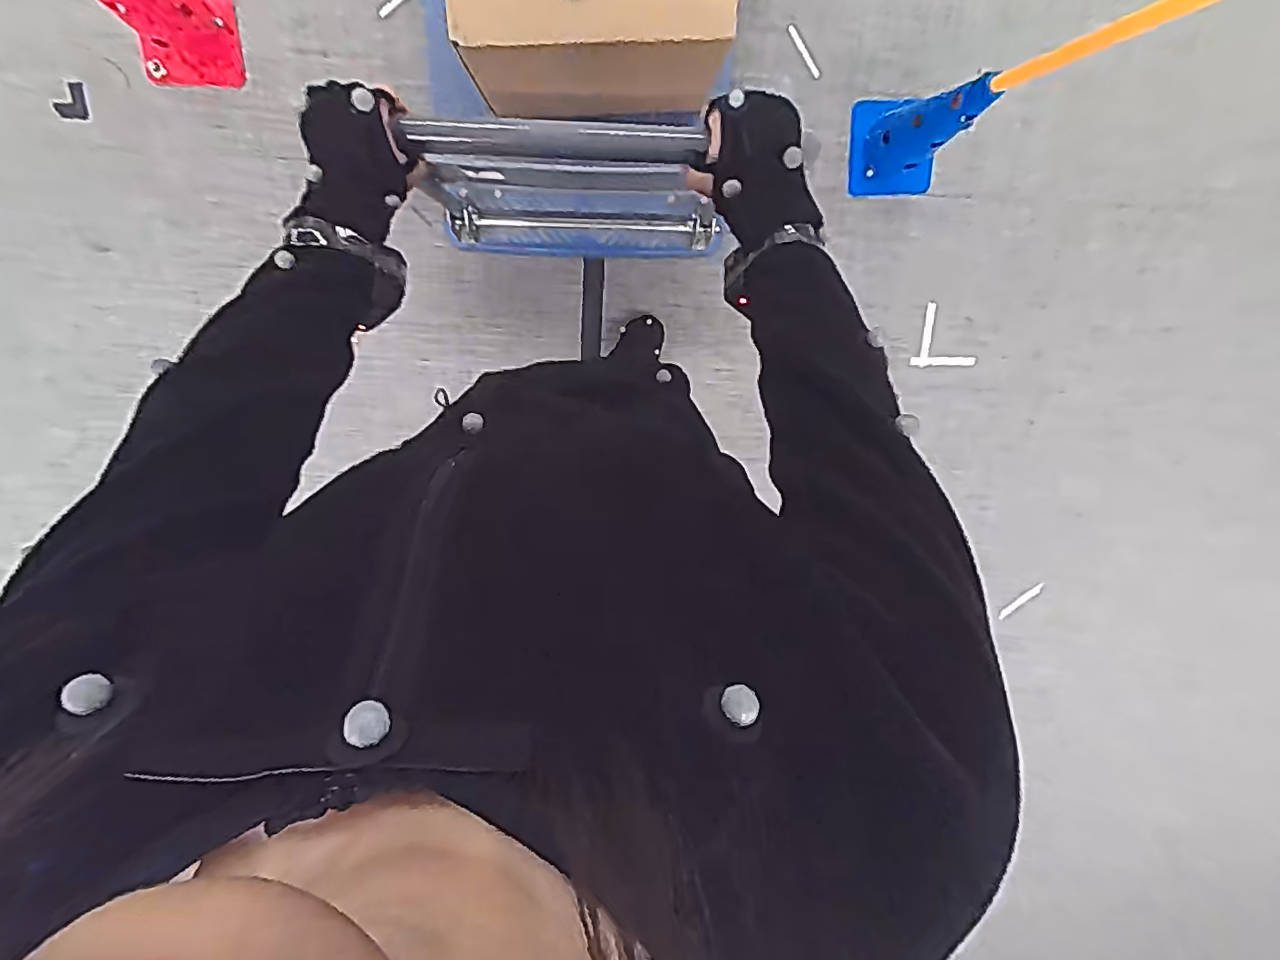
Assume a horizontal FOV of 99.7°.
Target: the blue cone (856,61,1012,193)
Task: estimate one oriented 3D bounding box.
[{"bbox_3d":[0.606,-0.731,1.099,0.193,0.380,0.192,-2,105,-3],"label":"blue cone"}]
